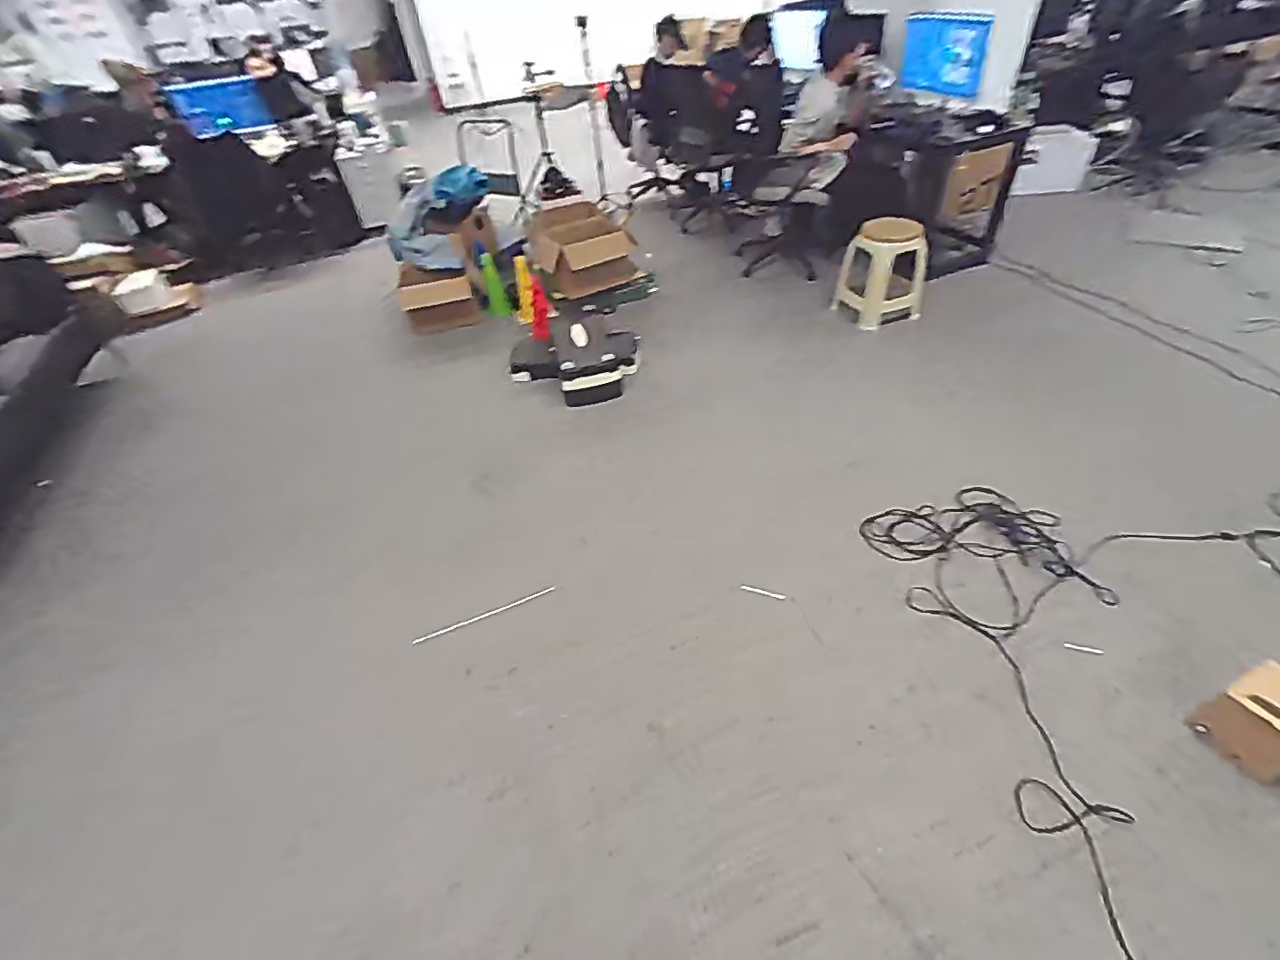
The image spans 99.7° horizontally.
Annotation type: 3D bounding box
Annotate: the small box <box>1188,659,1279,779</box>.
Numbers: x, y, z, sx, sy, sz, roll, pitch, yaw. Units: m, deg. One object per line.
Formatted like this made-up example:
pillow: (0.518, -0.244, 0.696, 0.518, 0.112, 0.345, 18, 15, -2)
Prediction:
small box: (1.463, 0.564, 1.271, 0.179, 0.176, 0.168, -21, 45, -15)
